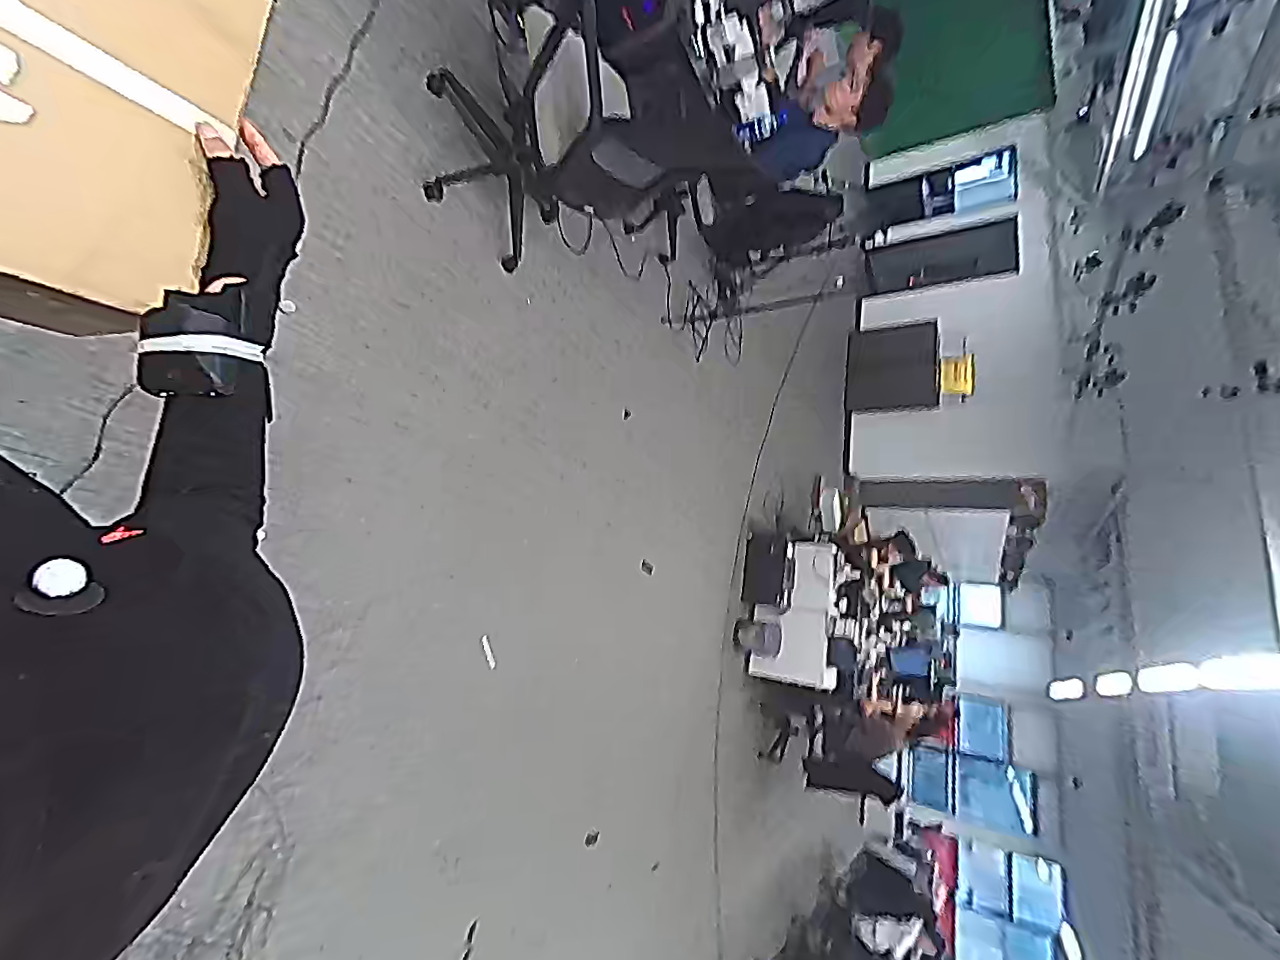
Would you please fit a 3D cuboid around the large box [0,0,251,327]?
[{"bbox_3d":[-0.578,-0.321,0.357,0.408,0.320,0.320,15,85,-59],"label":"large box"}]
